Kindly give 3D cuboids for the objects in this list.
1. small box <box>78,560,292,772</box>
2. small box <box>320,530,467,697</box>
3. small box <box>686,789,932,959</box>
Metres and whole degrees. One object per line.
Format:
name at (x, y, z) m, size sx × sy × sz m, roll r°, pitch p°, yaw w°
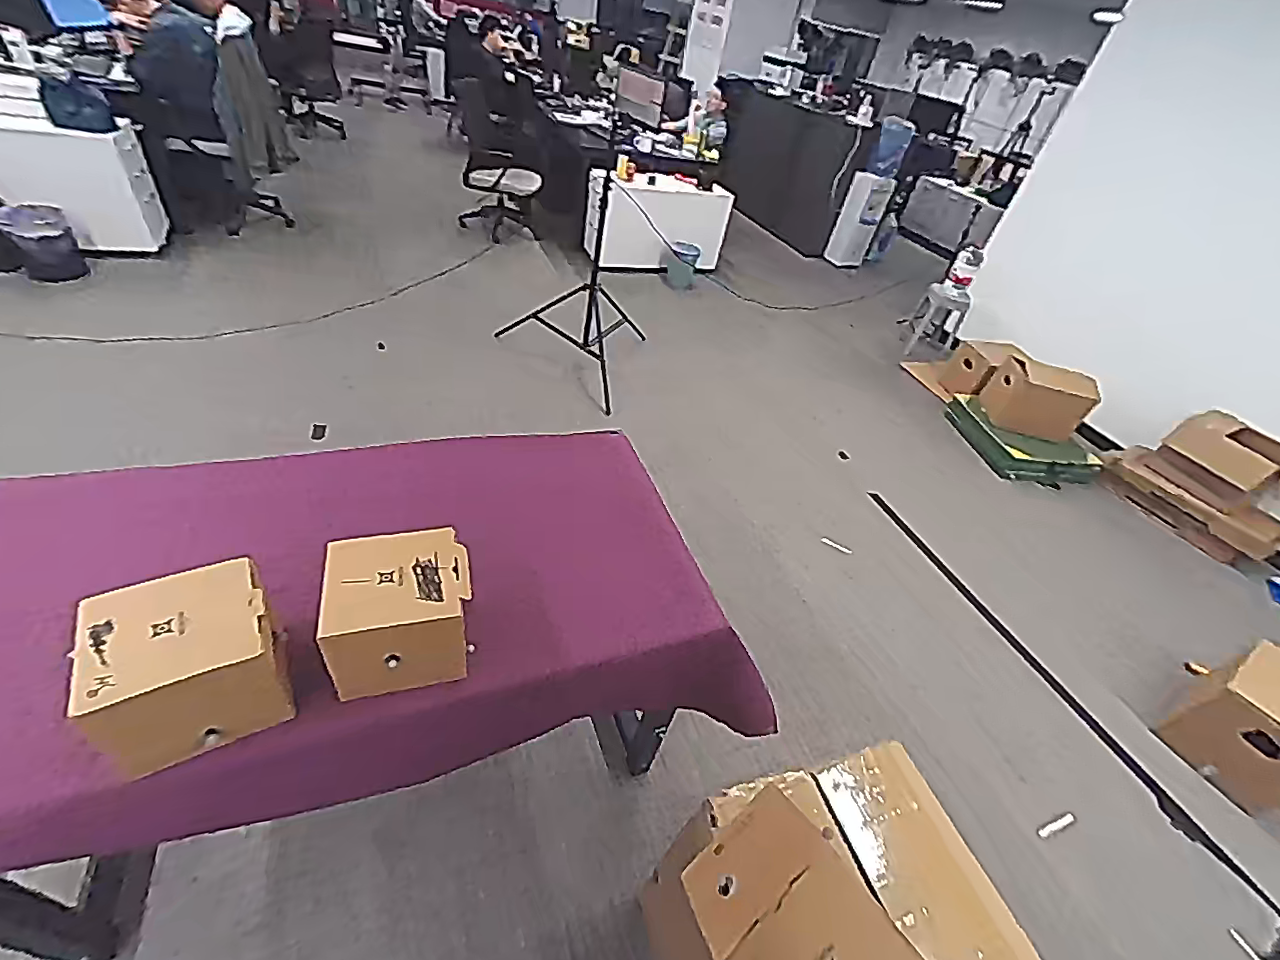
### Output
small box at (-0.573, 0.237, 0.705) m, size 0.179 × 0.176 × 0.168 m, roll -15°, pitch 47°, yaw -31°
small box at (-0.356, 0.197, 0.810) m, size 0.179 × 0.176 × 0.168 m, roll -5°, pitch 43°, yaw -19°
small box at (0.177, 0.495, 0.624) m, size 0.168 × 0.176 × 0.179 m, roll -41°, pitch 90°, yaw -12°
